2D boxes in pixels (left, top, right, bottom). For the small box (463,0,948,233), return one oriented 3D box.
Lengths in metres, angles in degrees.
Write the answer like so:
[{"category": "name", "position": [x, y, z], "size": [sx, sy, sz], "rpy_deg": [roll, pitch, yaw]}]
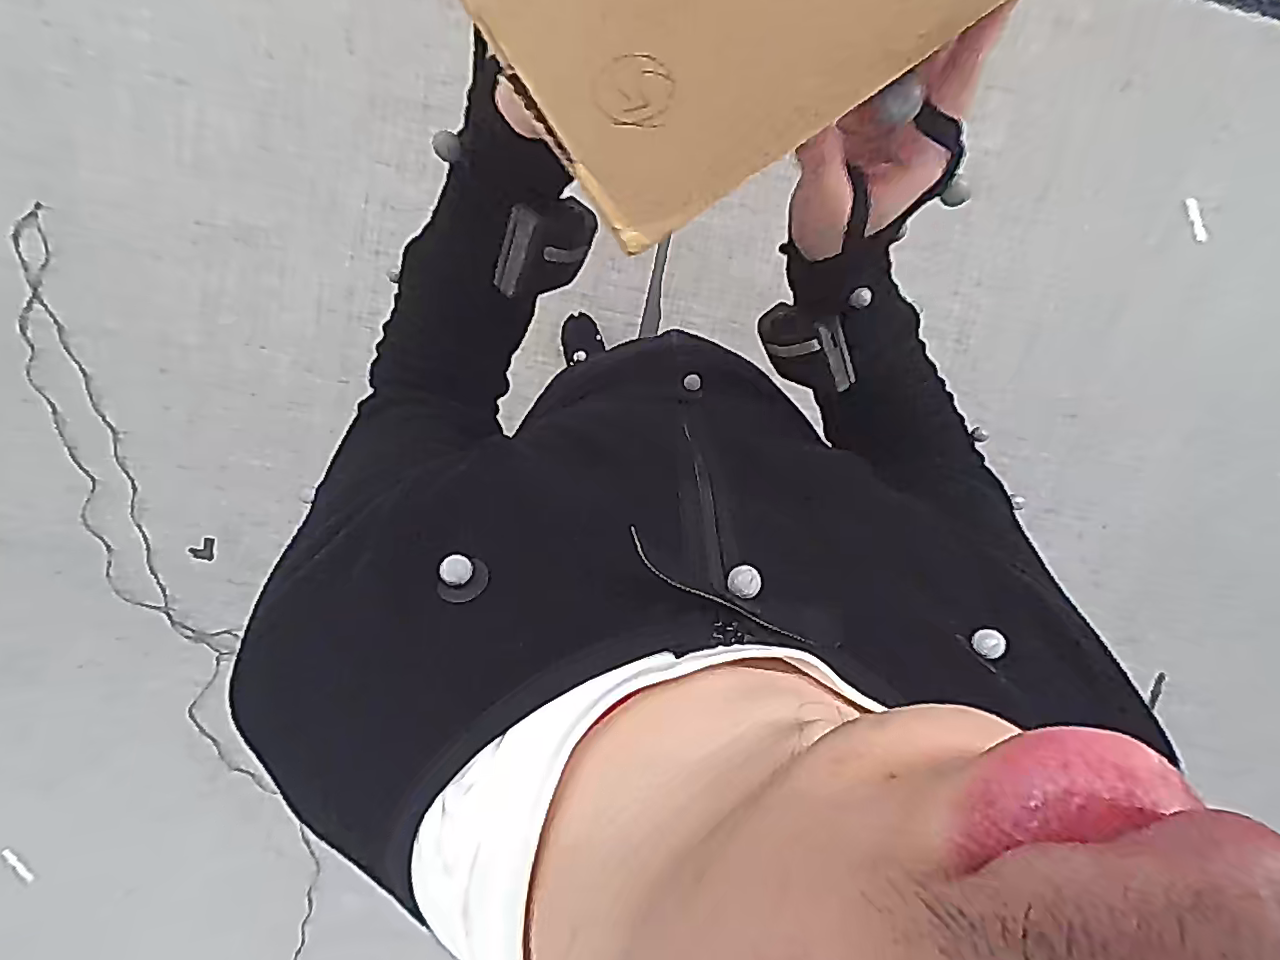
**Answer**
[{"category": "small box", "position": [0.036, -0.214, 0.163], "size": [0.179, 0.176, 0.168], "rpy_deg": [-24, 117, 33]}]
